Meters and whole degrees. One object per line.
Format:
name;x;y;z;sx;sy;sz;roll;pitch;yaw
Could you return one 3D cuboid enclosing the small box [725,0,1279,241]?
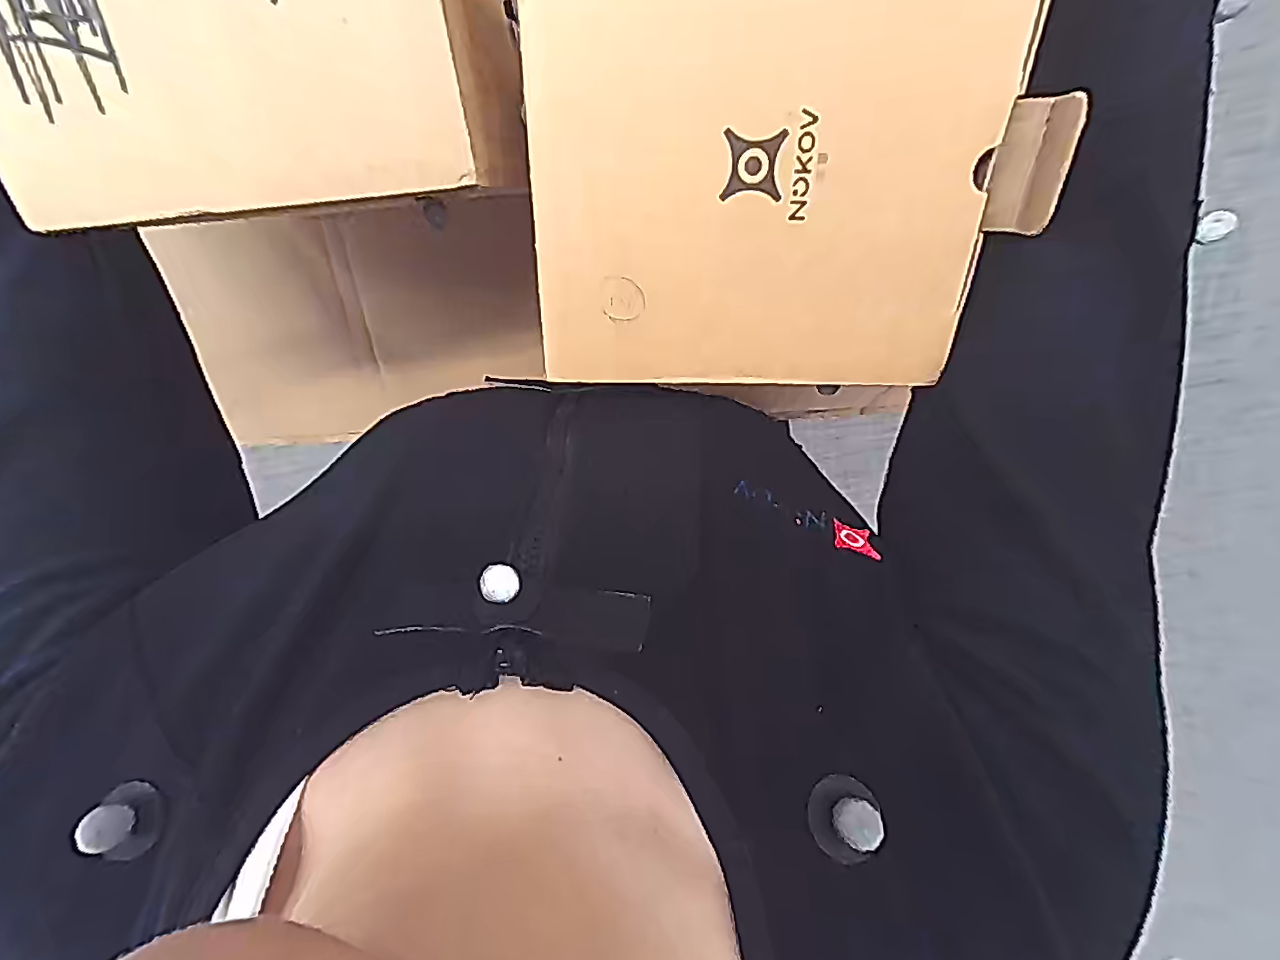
small box;0.147;-0.213;0.221;0.179;0.176;0.168;12;123;-6
